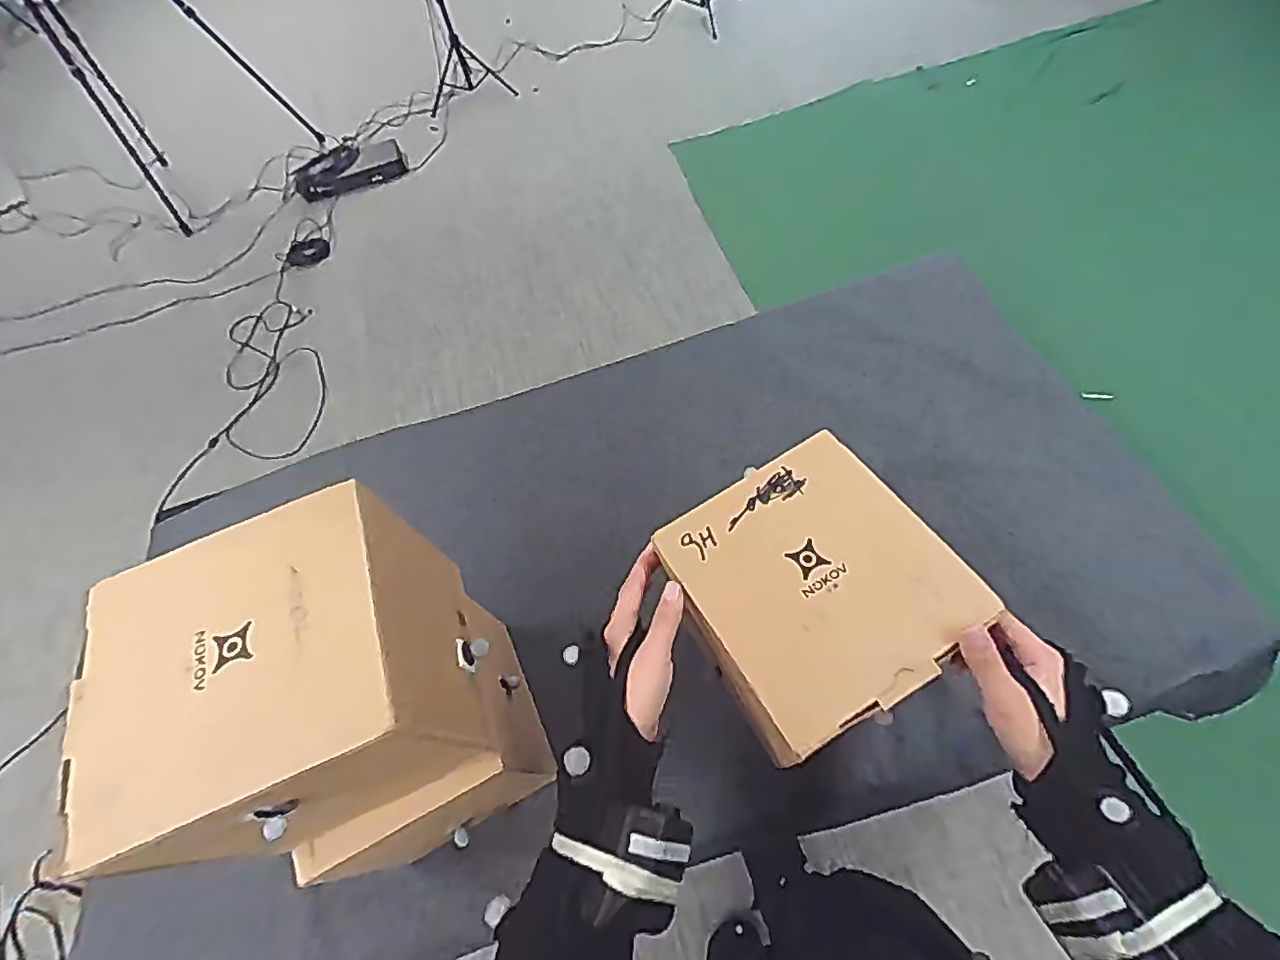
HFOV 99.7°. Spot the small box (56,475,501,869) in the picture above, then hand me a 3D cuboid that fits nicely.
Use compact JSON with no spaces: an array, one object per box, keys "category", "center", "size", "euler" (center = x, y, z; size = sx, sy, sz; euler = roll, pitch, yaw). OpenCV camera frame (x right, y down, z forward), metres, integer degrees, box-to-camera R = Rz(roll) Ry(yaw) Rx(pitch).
[{"category":"small box","center":[-0.222,0.132,0.375],"size":[0.179,0.176,0.168],"euler":[-24,61,-6]}]

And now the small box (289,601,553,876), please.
[{"category":"small box","center":[-0.201,0.227,0.507],"size":[0.168,0.176,0.179],"euler":[-27,61,-7]}]
